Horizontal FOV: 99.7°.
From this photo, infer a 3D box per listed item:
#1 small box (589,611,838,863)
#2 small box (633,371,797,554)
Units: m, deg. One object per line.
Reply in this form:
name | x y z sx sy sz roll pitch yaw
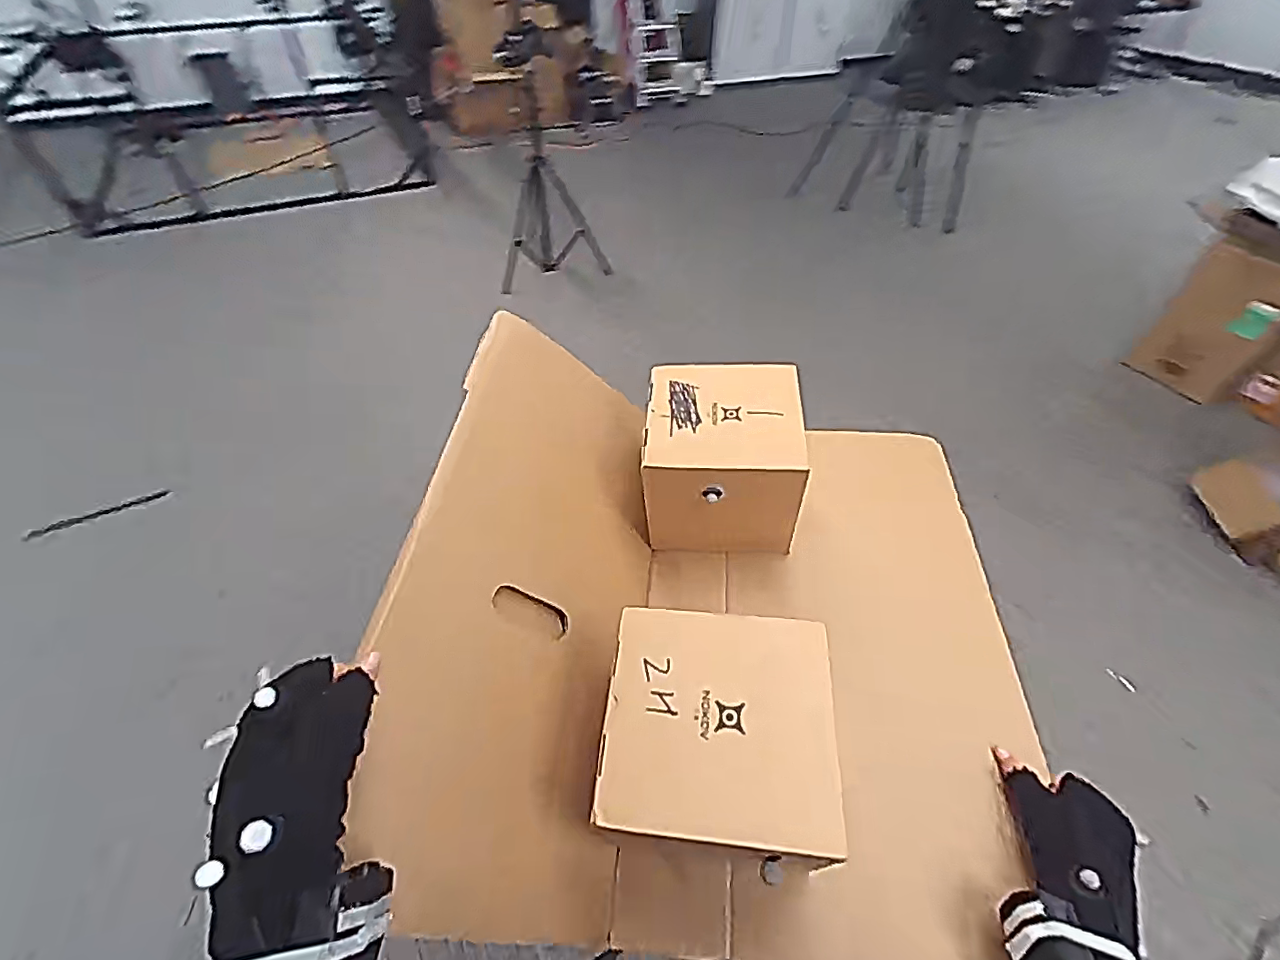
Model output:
small box | 0.065 0.234 0.486 0.179 0.176 0.168 2 52 8
small box | 0.091 -0.018 0.682 0.179 0.176 0.168 0 52 6
